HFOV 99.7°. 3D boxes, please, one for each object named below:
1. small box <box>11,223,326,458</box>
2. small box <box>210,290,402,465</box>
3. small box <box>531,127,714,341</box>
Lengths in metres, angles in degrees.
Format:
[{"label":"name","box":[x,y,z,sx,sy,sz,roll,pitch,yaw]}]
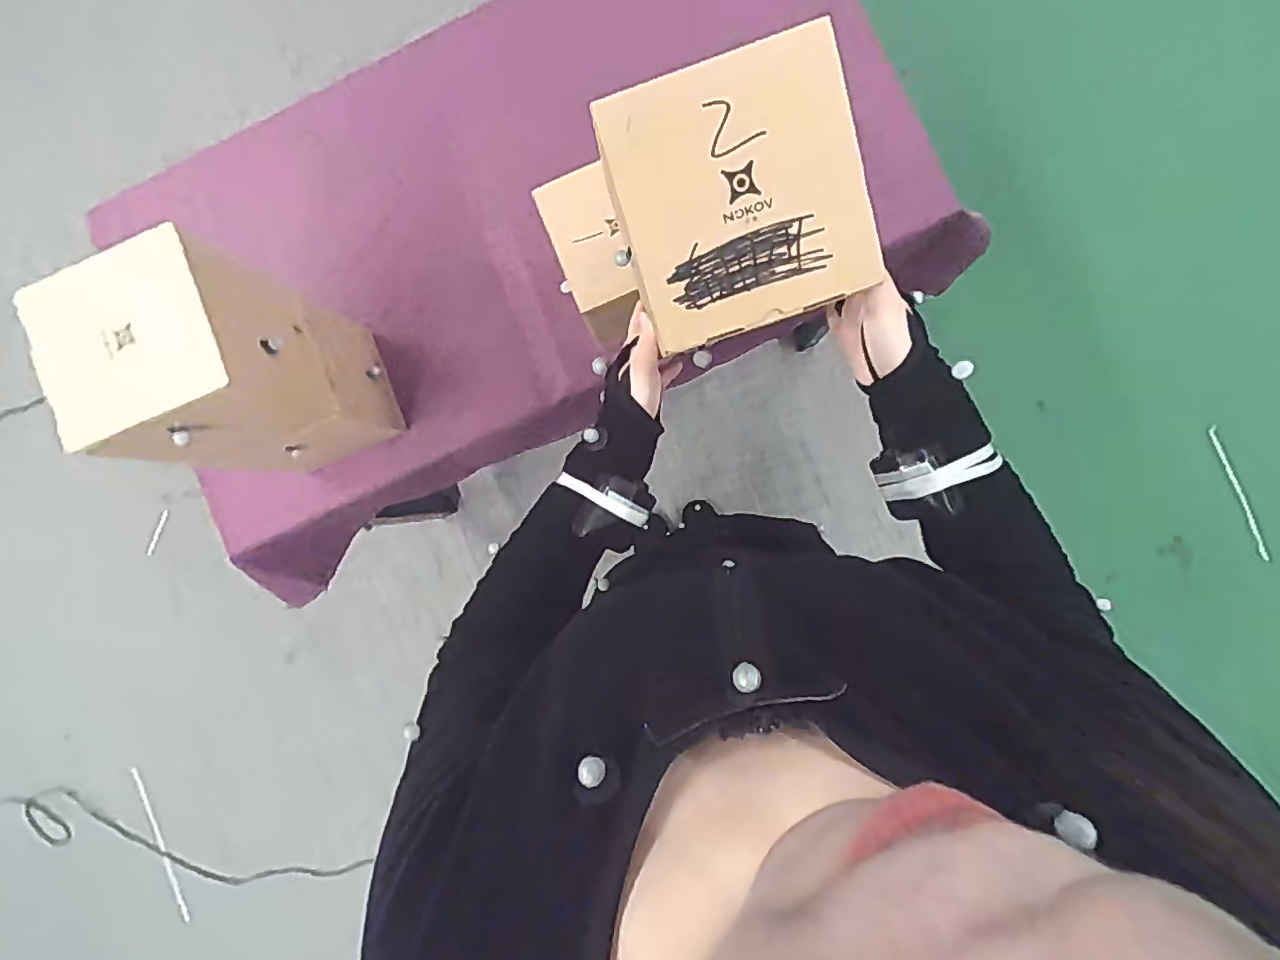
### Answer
[{"label":"small box","box":[-0.474,-0.131,0.577,0.179,0.176,0.168,-22,88,4]},{"label":"small box","box":[-0.467,-0.125,0.740,0.179,0.176,0.168,-21,88,3]},{"label":"small box","box":[-0.016,-0.306,0.713,0.179,0.176,0.168,-22,87,4]}]
